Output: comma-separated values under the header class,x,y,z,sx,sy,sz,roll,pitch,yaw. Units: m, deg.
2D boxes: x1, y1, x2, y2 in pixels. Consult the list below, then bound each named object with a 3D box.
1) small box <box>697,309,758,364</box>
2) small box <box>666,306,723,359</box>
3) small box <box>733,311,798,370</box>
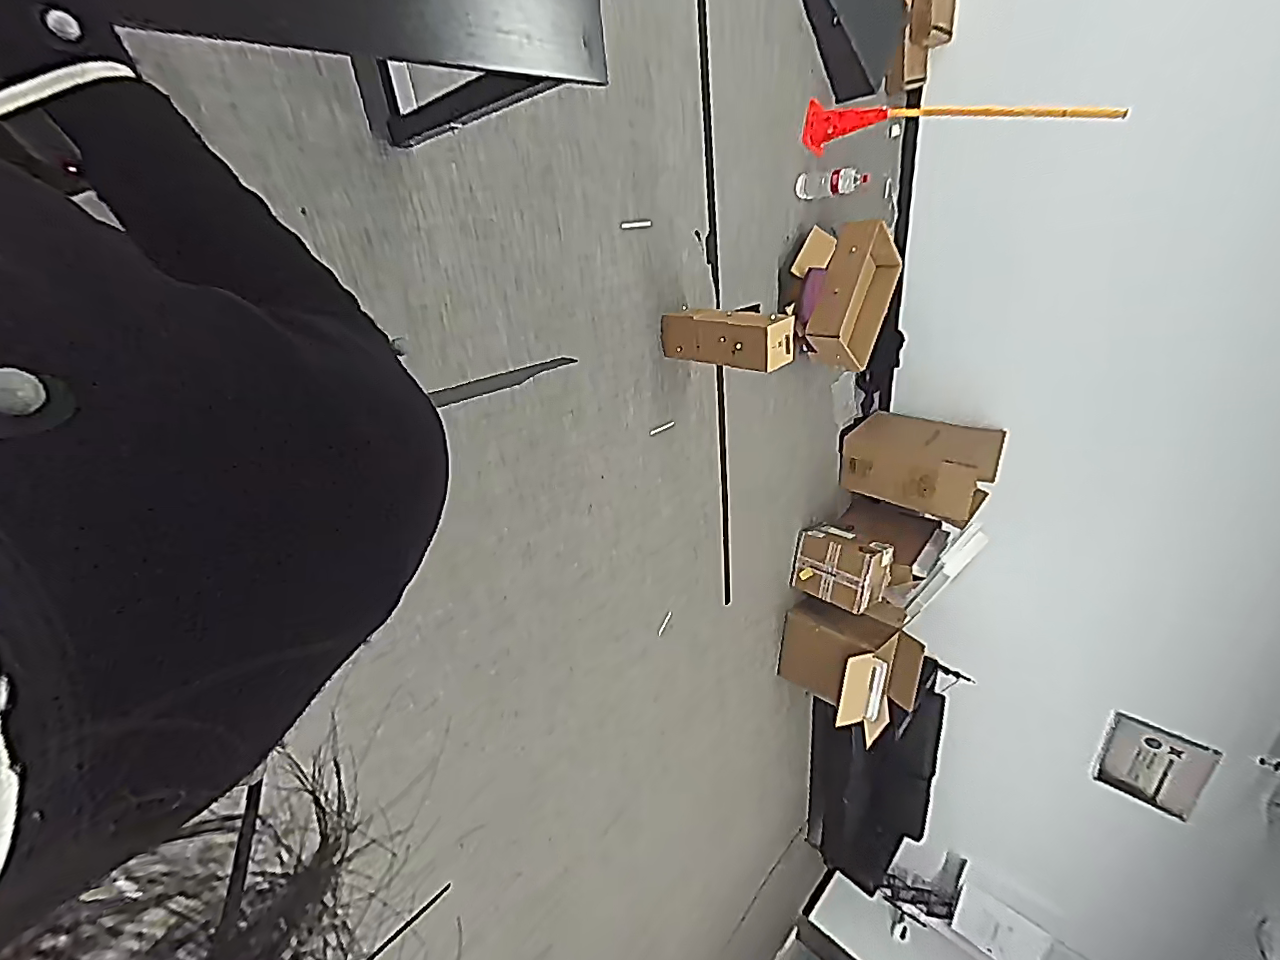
class,x,y,z,sx,sy,sz,roll,pitch,yaw
small box,0.336,-0.555,2.066,0.179,0.176,0.168,-31,125,-38
small box,0.221,-0.596,2.175,0.168,0.176,0.179,-29,122,-38
small box,0.454,-0.511,1.959,0.179,0.176,0.168,-30,124,-36
